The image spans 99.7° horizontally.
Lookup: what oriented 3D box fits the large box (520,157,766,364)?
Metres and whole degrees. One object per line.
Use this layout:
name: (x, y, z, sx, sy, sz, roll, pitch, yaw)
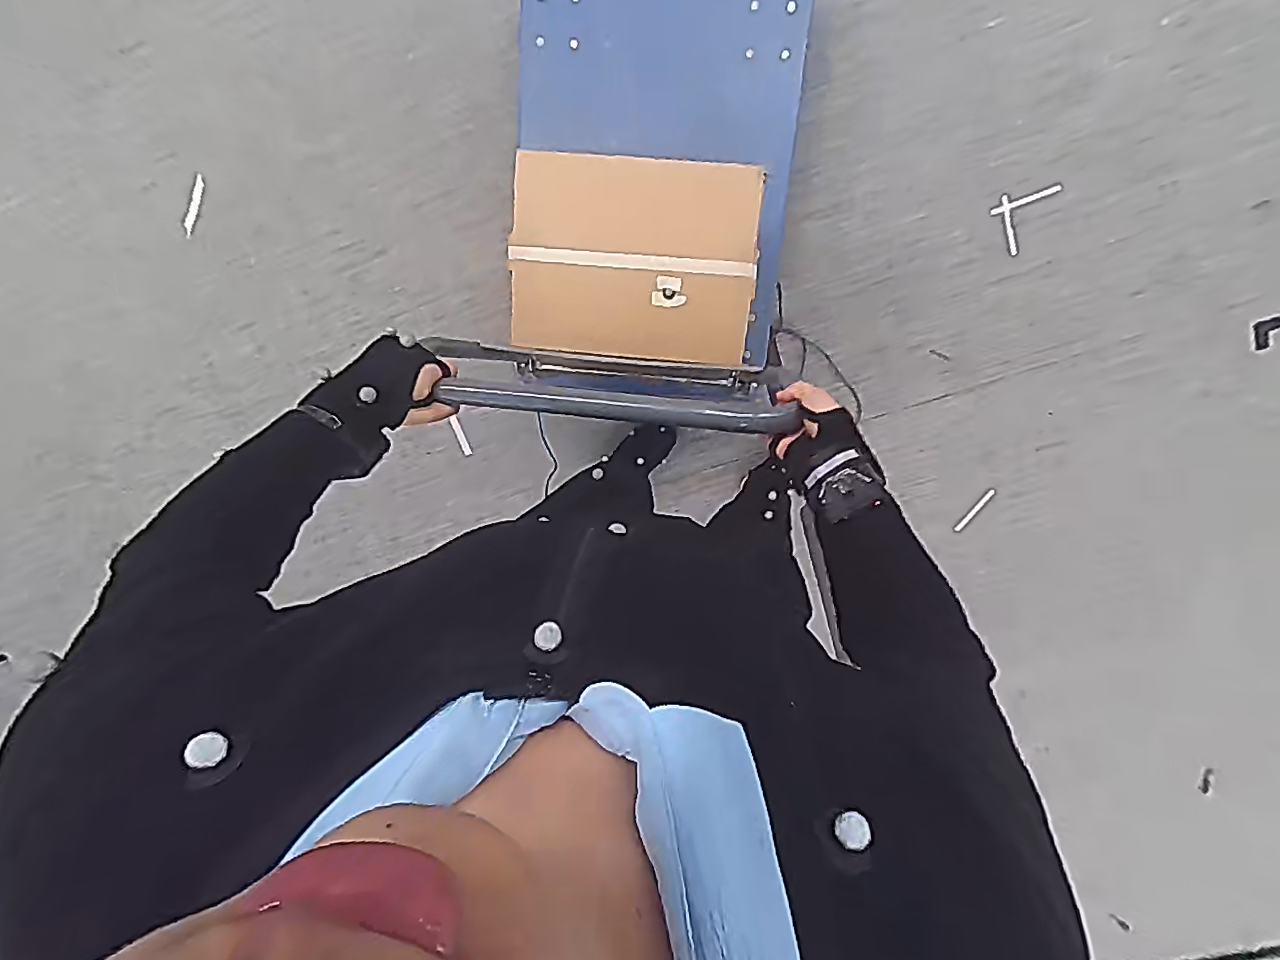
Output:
large box: (0.003, -0.396, 1.050, 0.408, 0.320, 0.320, 5, 104, 2)
